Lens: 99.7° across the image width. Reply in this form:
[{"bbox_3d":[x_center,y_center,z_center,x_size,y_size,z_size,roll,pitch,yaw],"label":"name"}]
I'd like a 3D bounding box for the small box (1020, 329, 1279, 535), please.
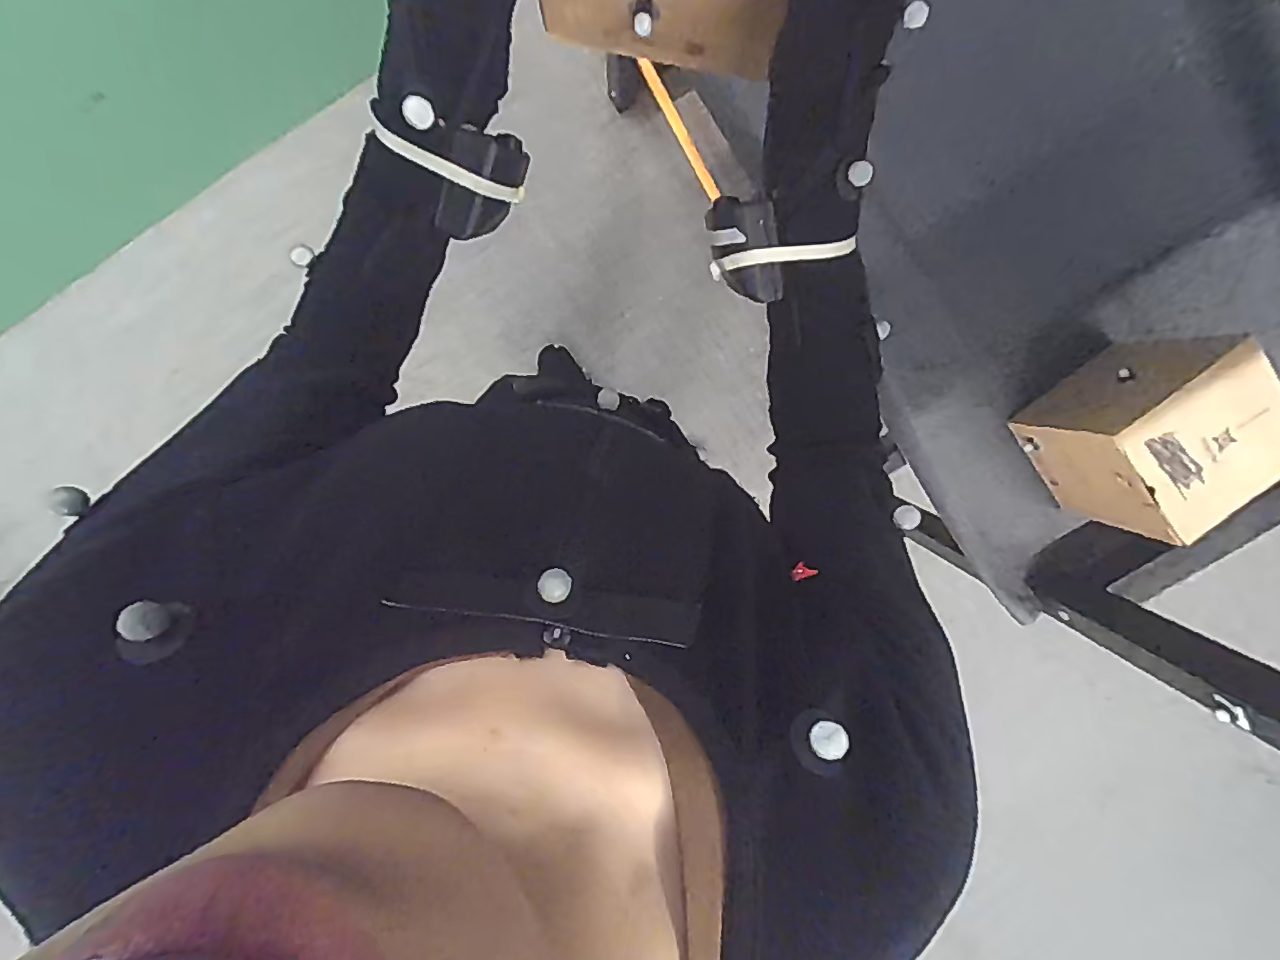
[{"bbox_3d":[0.625,-0.063,0.676,0.179,0.176,0.168,-39,100,5],"label":"small box"}]
